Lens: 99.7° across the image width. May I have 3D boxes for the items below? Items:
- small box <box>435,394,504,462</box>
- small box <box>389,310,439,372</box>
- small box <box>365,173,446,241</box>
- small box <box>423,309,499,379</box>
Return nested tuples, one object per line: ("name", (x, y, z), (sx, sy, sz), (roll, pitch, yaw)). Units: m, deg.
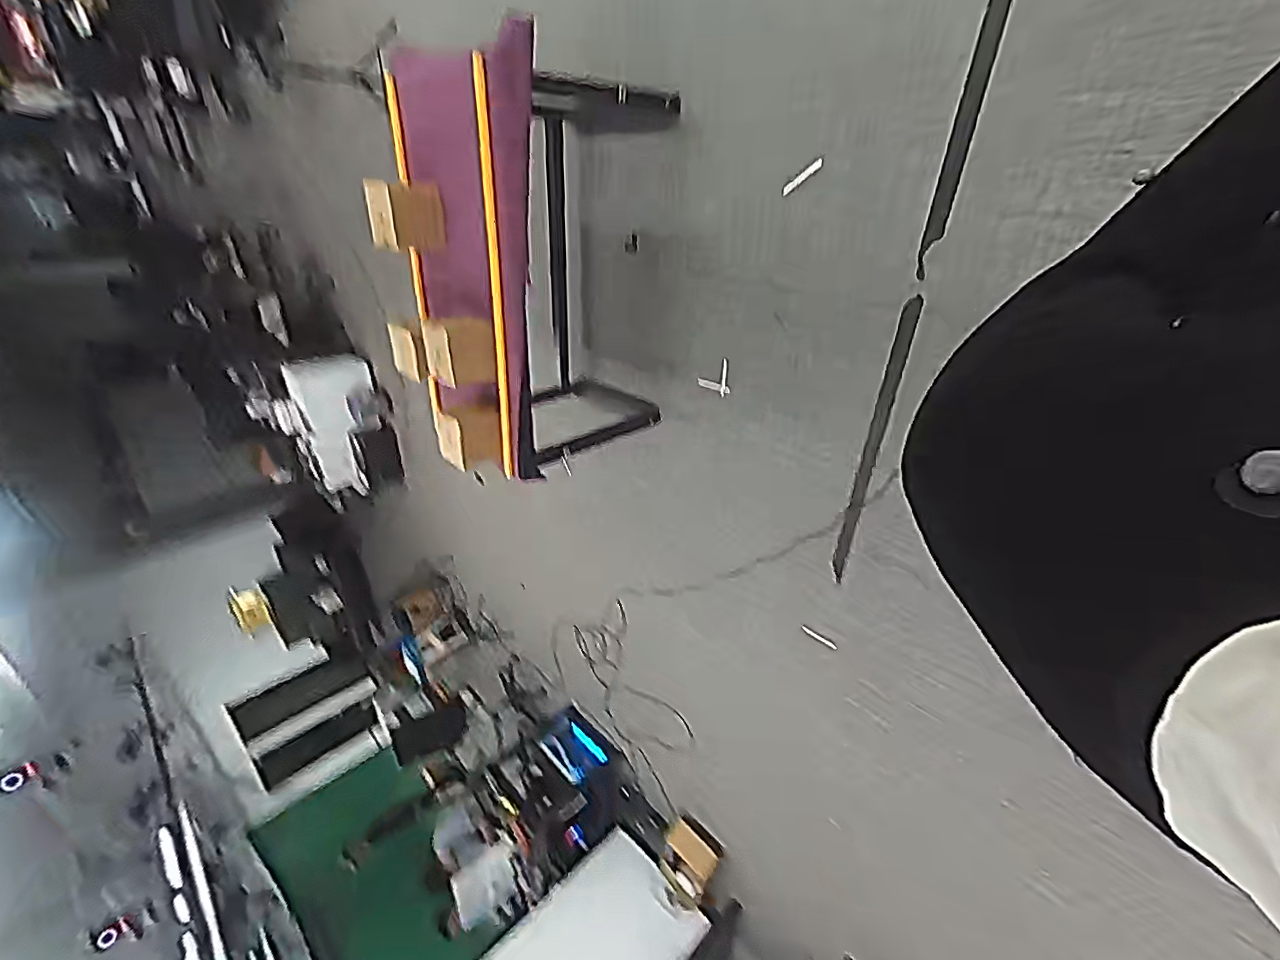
("small box", (-0.590, -0.190, 1.886), (0.168, 0.176, 0.179), (28, 126, 37))
("small box", (-0.762, -0.501, 1.923), (0.179, 0.176, 0.168), (28, 128, 35))
("small box", (-0.738, -0.867, 1.711), (0.168, 0.176, 0.179), (28, 129, 35))
("small box", (-0.571, -0.445, 1.738), (0.168, 0.176, 0.179), (28, 127, 37))
